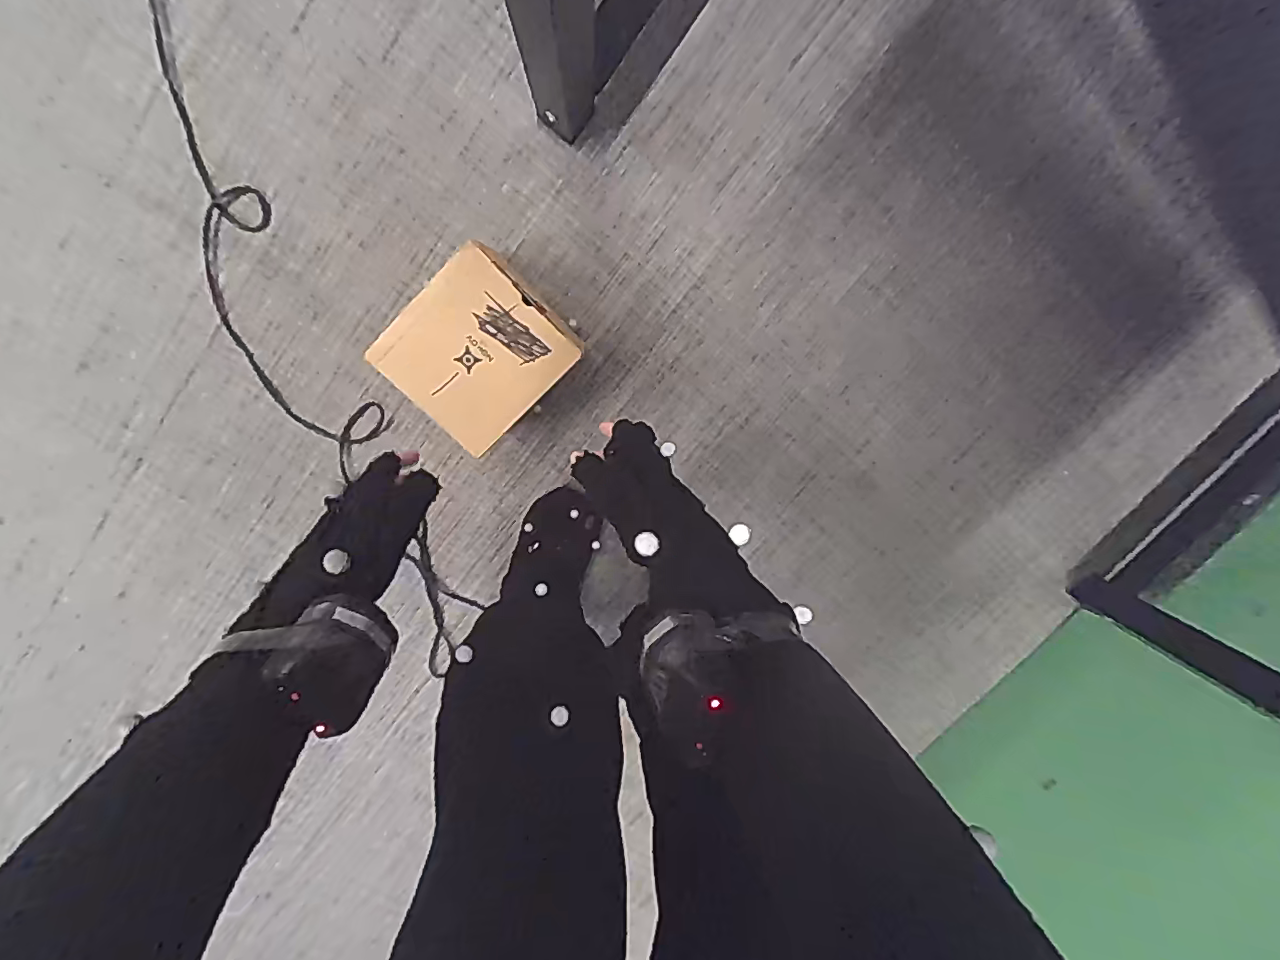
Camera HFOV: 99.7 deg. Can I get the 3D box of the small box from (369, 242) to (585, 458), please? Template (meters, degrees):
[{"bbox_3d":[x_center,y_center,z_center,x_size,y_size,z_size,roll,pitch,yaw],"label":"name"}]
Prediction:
[{"bbox_3d":[-0.185,-0.161,0.667,0.179,0.176,0.168,-42,106,9],"label":"small box"}]
